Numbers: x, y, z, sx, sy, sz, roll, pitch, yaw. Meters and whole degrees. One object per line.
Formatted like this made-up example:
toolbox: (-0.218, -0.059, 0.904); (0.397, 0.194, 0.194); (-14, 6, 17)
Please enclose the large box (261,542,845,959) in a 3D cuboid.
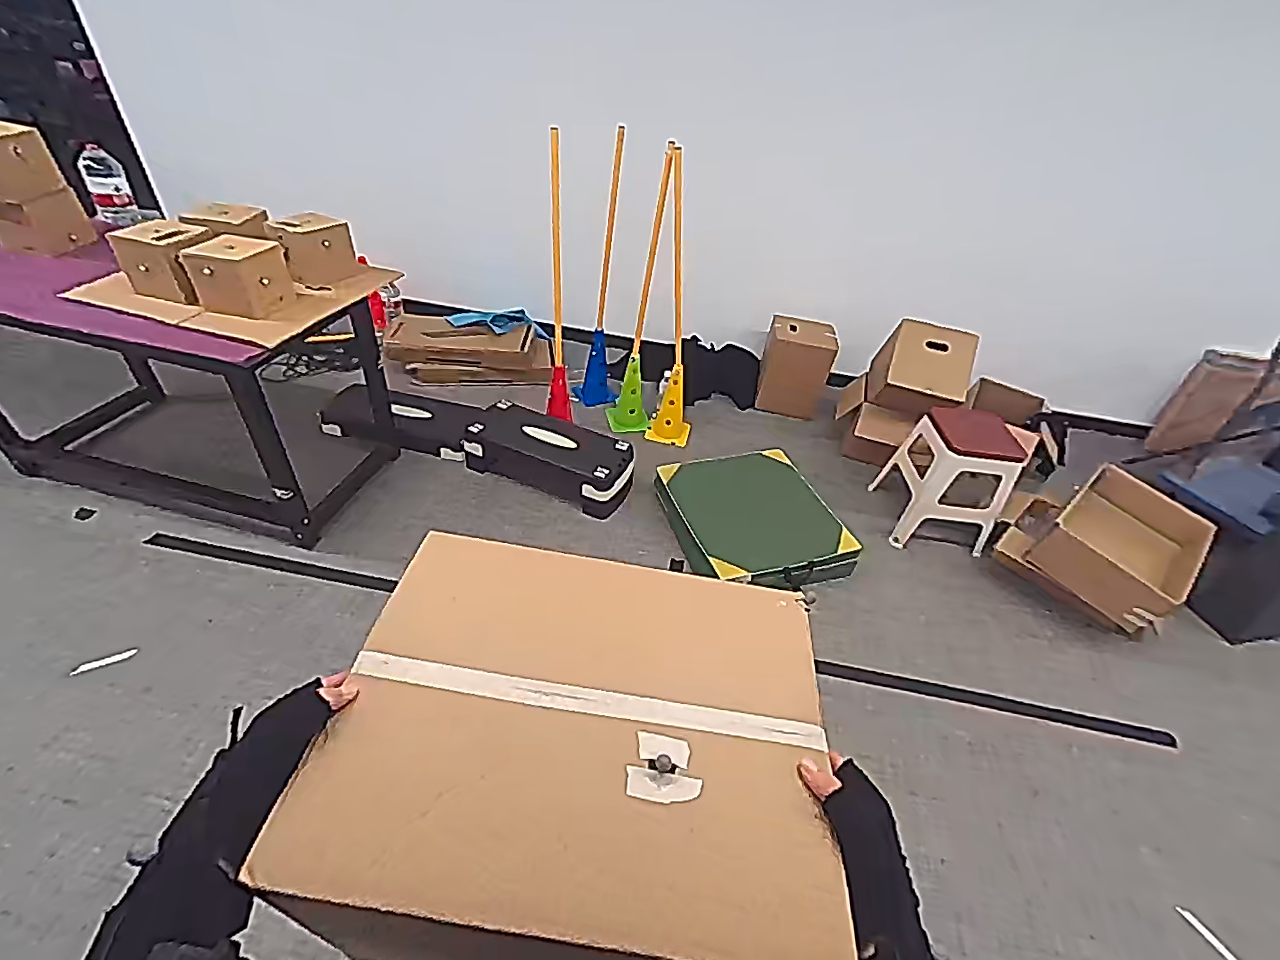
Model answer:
large box: (-0.063, 0.305, 0.566); (0.408, 0.320, 0.320); (10, 42, 0)
